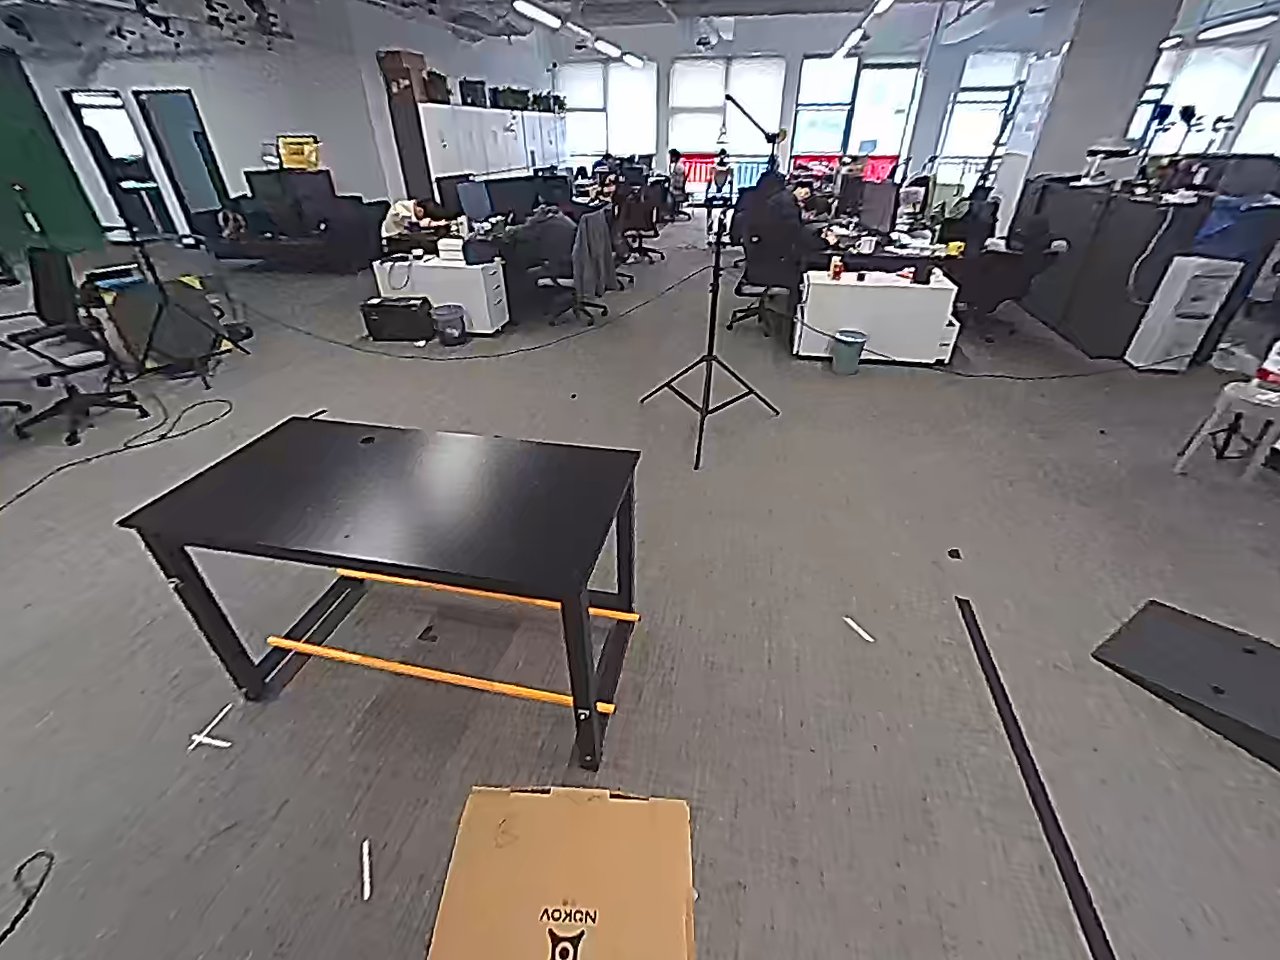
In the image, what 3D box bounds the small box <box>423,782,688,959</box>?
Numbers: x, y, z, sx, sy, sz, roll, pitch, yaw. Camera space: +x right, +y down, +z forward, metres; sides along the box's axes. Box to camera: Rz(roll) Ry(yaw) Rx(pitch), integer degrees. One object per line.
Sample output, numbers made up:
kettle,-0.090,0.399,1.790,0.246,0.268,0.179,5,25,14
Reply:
small box,-0.058,0.349,0.393,0.168,0.176,0.179,4,42,-2
